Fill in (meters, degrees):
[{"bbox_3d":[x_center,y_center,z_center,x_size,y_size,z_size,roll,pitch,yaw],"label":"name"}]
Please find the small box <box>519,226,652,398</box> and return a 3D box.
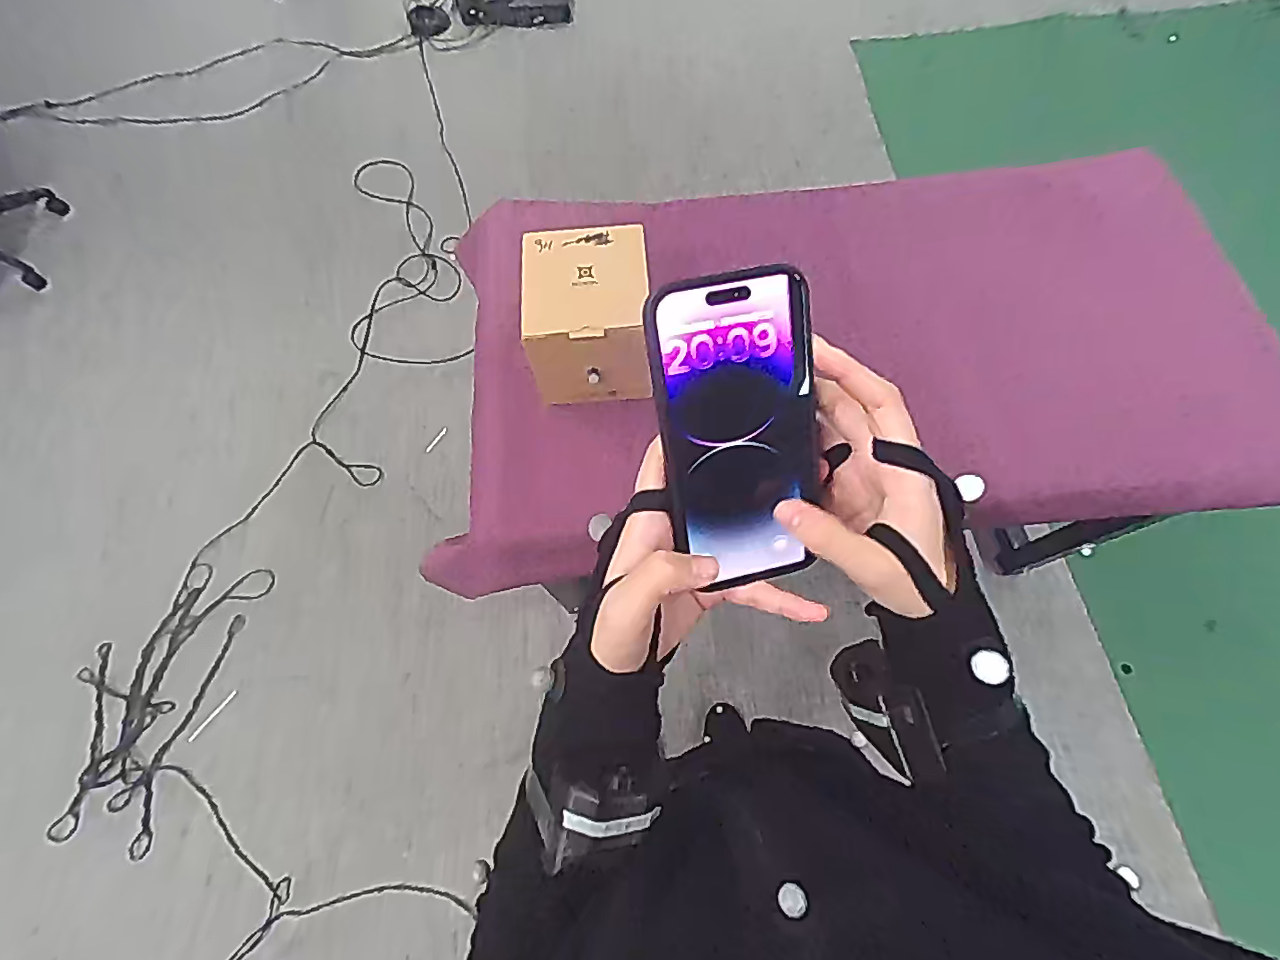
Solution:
[{"bbox_3d":[-0.071,-0.229,0.778,0.168,0.176,0.179,-4,68,0],"label":"small box"}]
